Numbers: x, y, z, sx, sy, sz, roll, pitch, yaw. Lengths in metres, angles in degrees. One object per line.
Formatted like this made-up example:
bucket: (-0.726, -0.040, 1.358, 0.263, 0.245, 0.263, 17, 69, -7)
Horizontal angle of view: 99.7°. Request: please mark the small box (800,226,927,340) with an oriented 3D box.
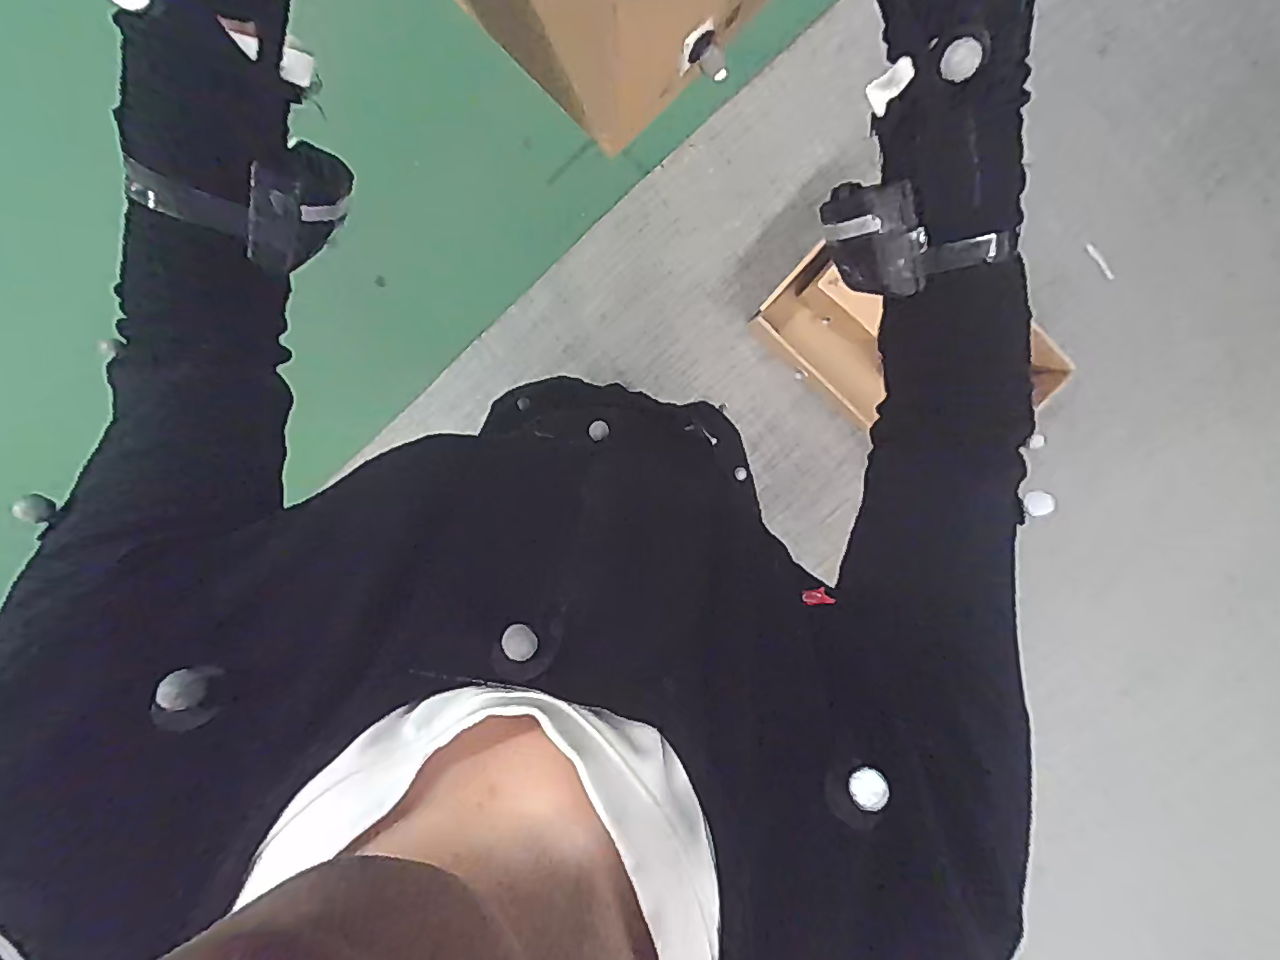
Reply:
small box: (0.499, -0.436, 1.233, 0.179, 0.176, 0.168, 40, 98, -6)
